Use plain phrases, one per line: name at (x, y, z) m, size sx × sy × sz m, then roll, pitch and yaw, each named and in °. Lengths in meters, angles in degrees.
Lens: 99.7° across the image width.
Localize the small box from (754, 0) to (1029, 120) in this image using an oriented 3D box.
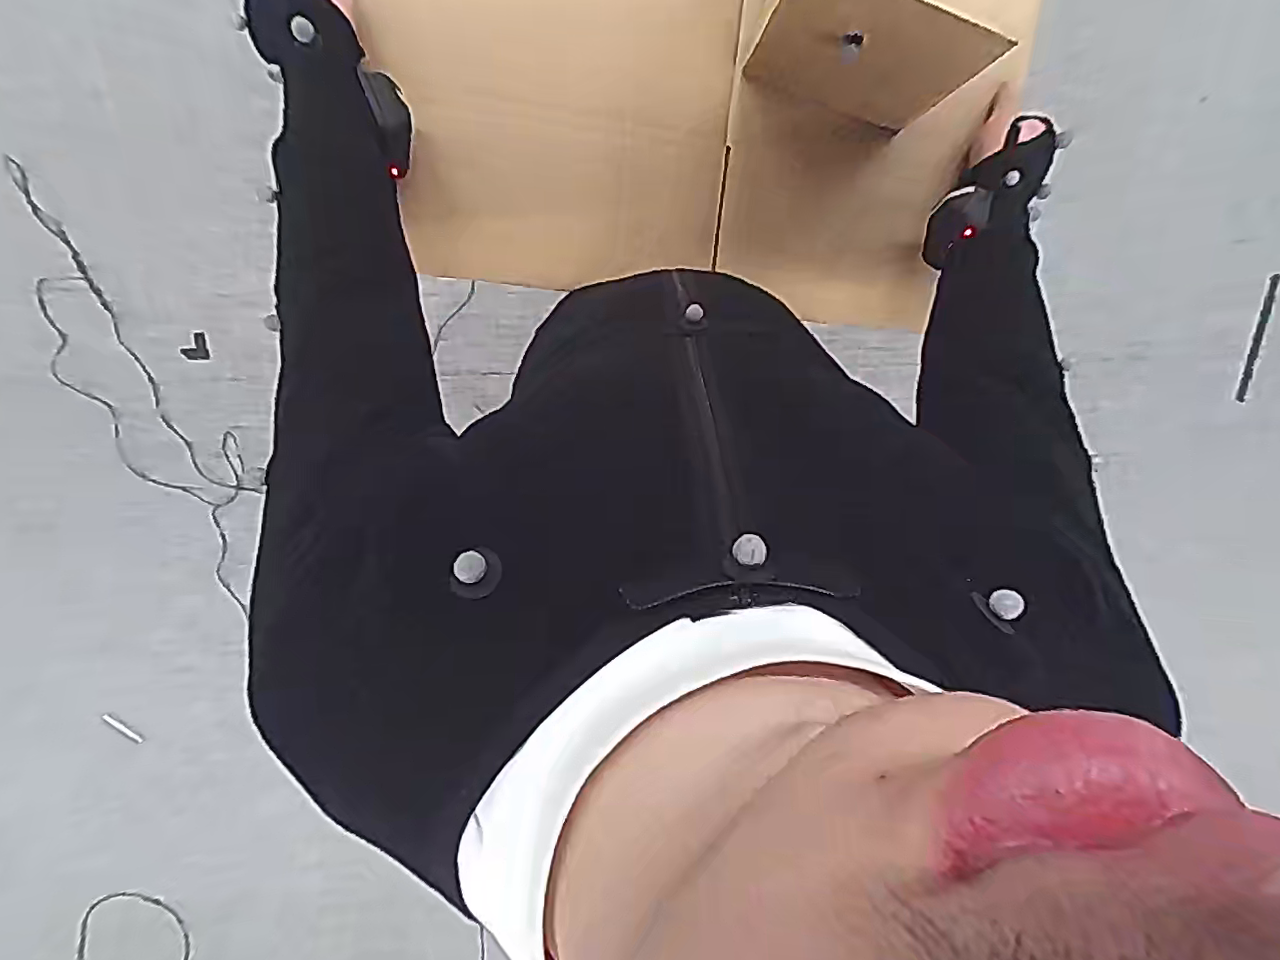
small box at (0.214, -0.443, 0.454) m, size 0.179 × 0.176 × 0.168 m, roll 15°, pitch 102°, yaw -7°
